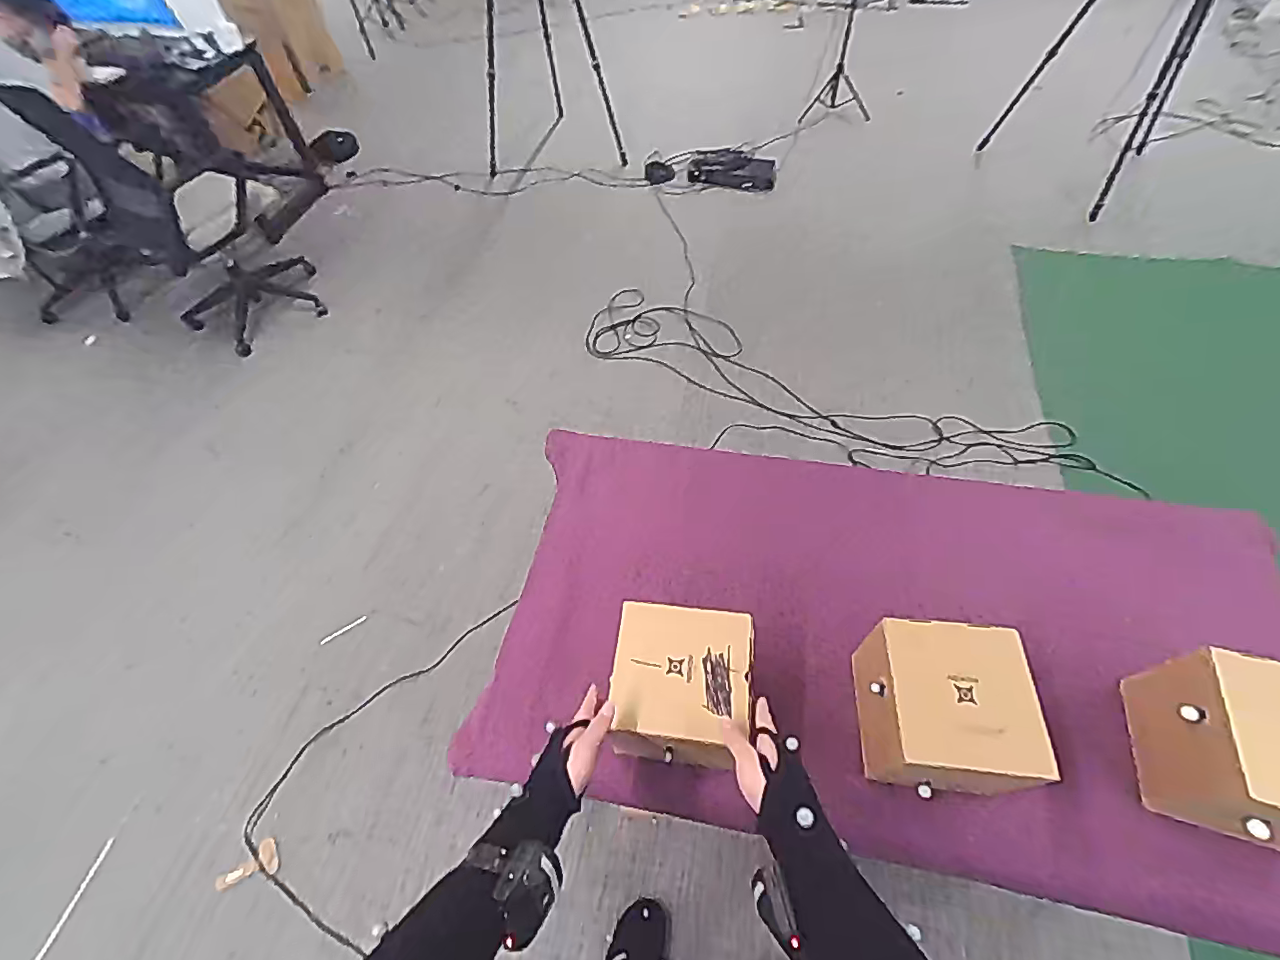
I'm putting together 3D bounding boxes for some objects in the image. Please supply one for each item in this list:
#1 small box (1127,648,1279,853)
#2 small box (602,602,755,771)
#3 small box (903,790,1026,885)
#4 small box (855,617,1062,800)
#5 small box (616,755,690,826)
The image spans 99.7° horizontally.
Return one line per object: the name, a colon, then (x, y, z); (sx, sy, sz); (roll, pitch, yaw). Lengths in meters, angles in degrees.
small box: (0.754, 0.337, 0.662); (0.168, 0.176, 0.179); (13, 55, 13)
small box: (0.056, 0.284, 0.735); (0.179, 0.176, 0.168); (5, 54, 7)
small box: (0.720, 0.800, 1.225); (0.168, 0.176, 0.179); (3, 55, 5)
small box: (0.393, 0.301, 0.708); (0.168, 0.176, 0.179); (4, 55, 7)
small box: (0.037, 0.732, 1.311); (0.168, 0.176, 0.179); (1, 55, 4)
